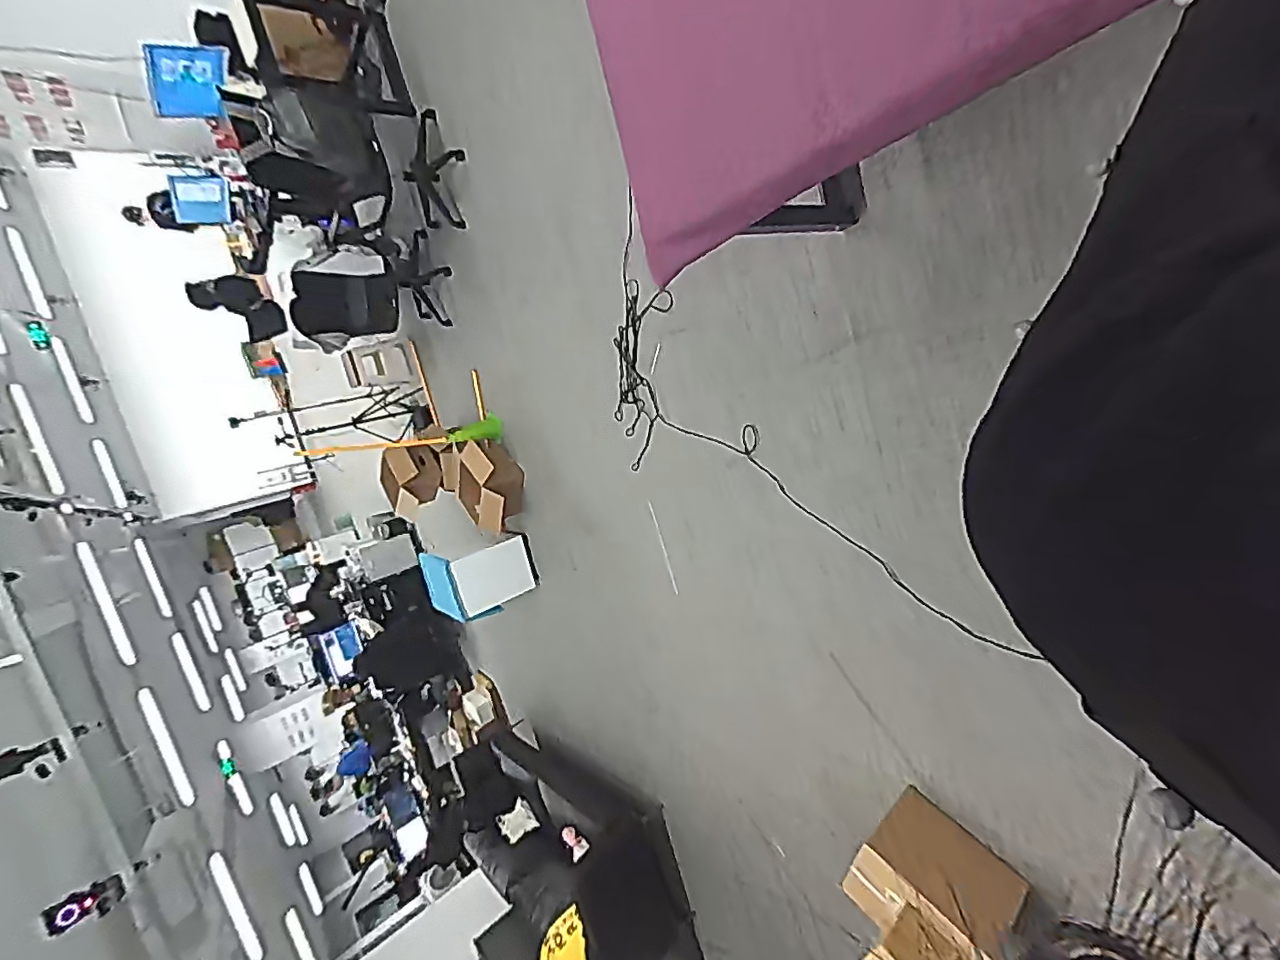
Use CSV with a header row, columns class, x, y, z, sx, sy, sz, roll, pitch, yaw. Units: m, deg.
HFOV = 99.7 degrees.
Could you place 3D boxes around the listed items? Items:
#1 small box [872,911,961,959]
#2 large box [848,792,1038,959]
class,x,y,z,sx,sy,sz,roll,pitch,yaw
small box,0.816,1.440,1.600,0.168,0.176,0.179,37,134,37
large box,0.974,1.345,1.765,0.408,0.320,0.320,34,131,41
